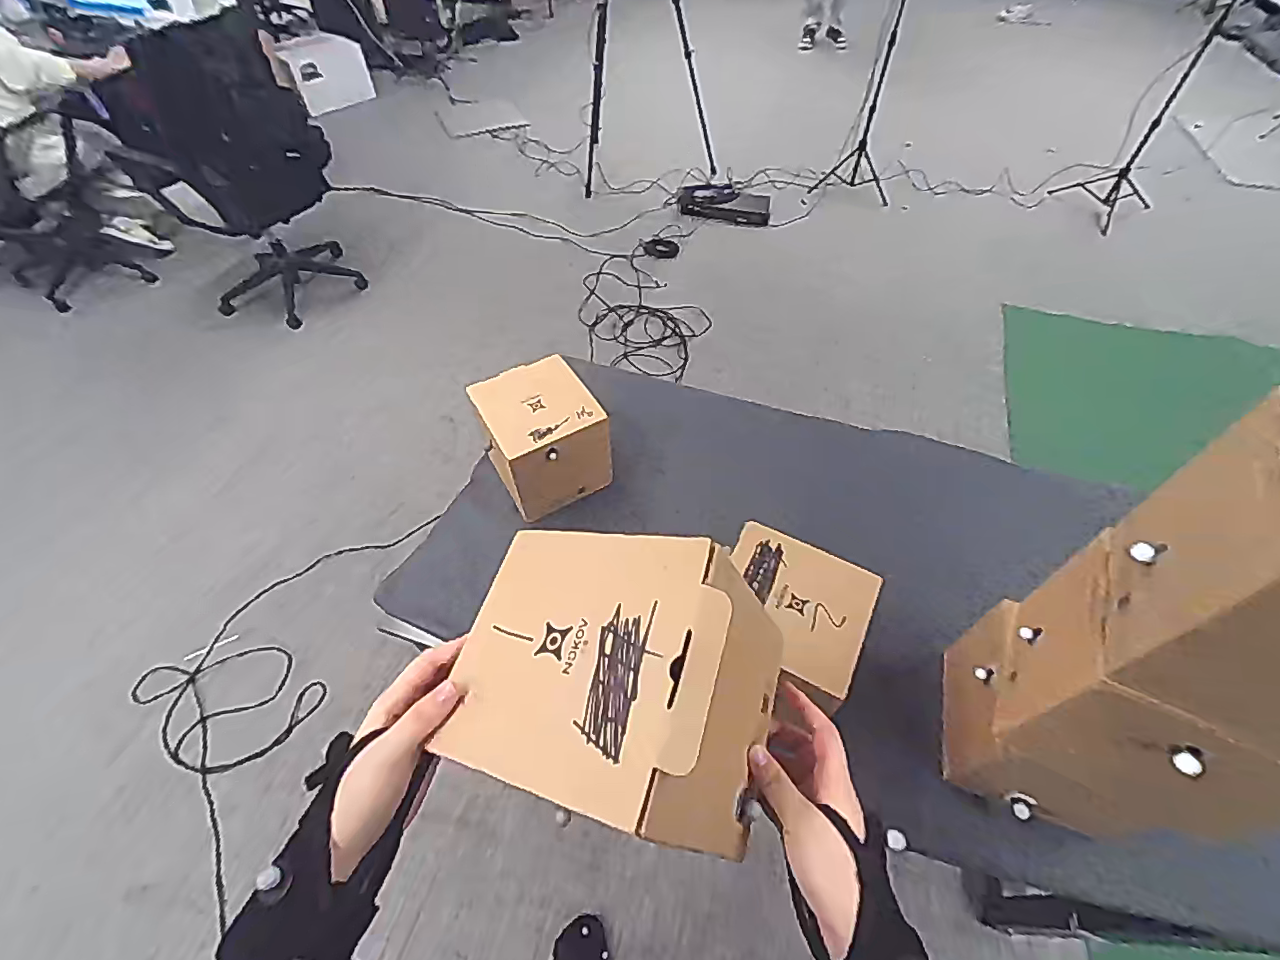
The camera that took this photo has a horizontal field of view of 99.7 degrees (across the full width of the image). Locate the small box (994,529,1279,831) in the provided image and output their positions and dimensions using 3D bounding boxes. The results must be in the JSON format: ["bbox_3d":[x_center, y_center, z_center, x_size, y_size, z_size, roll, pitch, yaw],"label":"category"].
[{"bbox_3d":[0.459,0.180,0.482,0.179,0.176,0.168,23,55,20],"label":"small box"}]

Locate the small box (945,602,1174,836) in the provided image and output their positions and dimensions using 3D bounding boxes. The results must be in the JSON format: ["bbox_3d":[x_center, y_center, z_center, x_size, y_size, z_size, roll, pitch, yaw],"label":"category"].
[{"bbox_3d":[0.467,0.273,0.616,0.168,0.176,0.179,14,53,13],"label":"small box"}]

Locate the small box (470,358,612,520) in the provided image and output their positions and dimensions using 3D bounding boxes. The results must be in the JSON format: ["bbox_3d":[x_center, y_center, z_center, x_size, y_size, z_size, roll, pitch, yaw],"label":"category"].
[{"bbox_3d":[-0.159,-0.066,0.899,0.168,0.176,0.179,-26,56,-18],"label":"small box"}]

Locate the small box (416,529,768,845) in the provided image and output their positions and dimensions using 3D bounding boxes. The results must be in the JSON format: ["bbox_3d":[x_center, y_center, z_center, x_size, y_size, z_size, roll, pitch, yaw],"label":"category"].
[{"bbox_3d":[-0.017,0.152,0.407,0.179,0.176,0.168,-2,53,33],"label":"small box"}]

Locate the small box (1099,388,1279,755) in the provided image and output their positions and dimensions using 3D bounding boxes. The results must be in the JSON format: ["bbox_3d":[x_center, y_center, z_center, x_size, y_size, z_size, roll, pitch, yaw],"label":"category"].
[{"bbox_3d":[0.459,0.075,0.355,0.179,0.176,0.168,25,55,21],"label":"small box"}]
